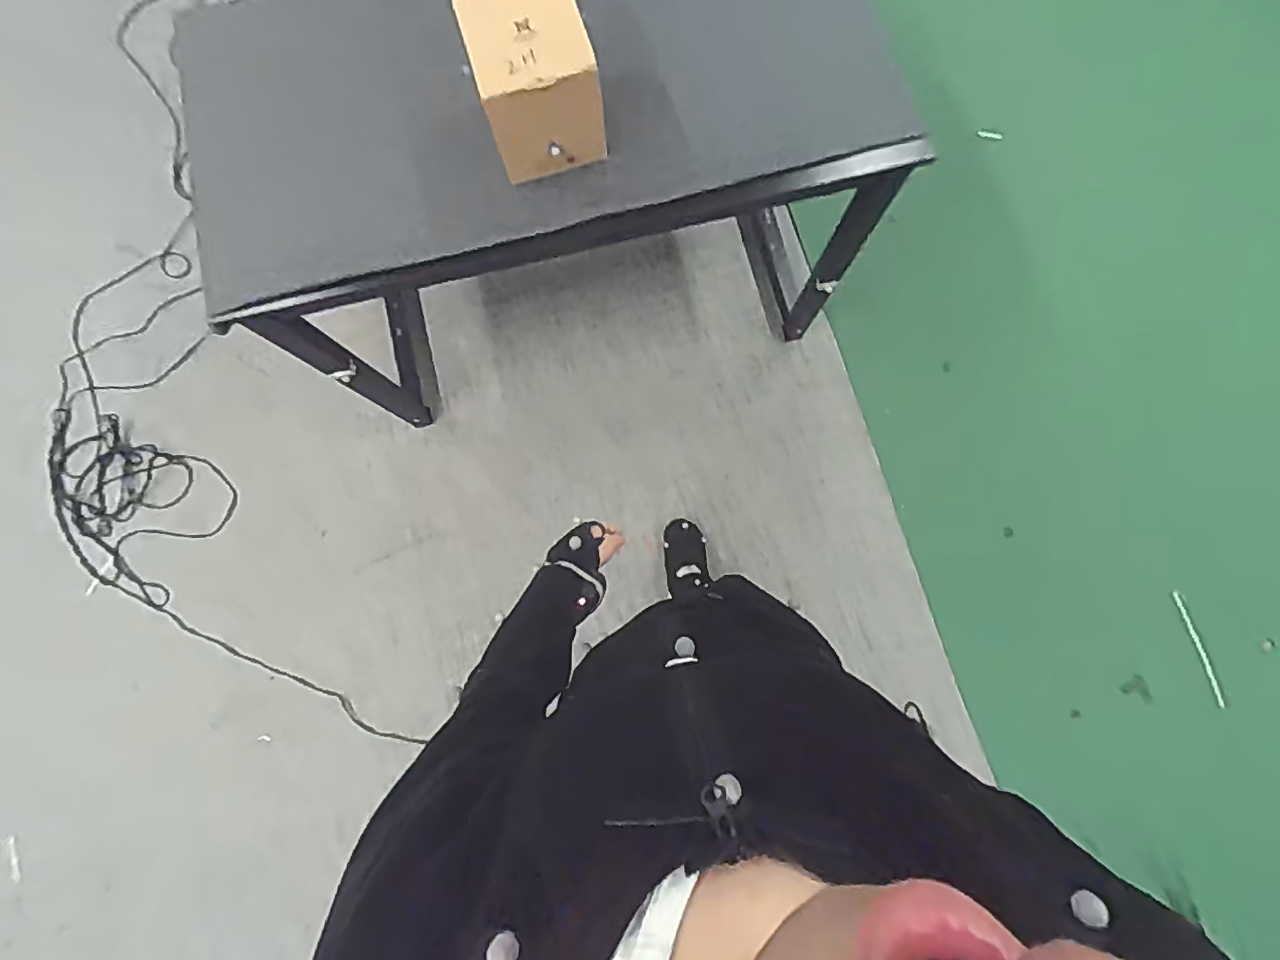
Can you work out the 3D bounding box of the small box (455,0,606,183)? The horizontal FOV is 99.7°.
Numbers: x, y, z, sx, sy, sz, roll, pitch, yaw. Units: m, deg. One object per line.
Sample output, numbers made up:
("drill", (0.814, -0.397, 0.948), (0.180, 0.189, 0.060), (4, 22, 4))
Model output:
("small box", (-0.155, -0.595, 0.815), (0.168, 0.176, 0.179), (-17, 79, -2))
